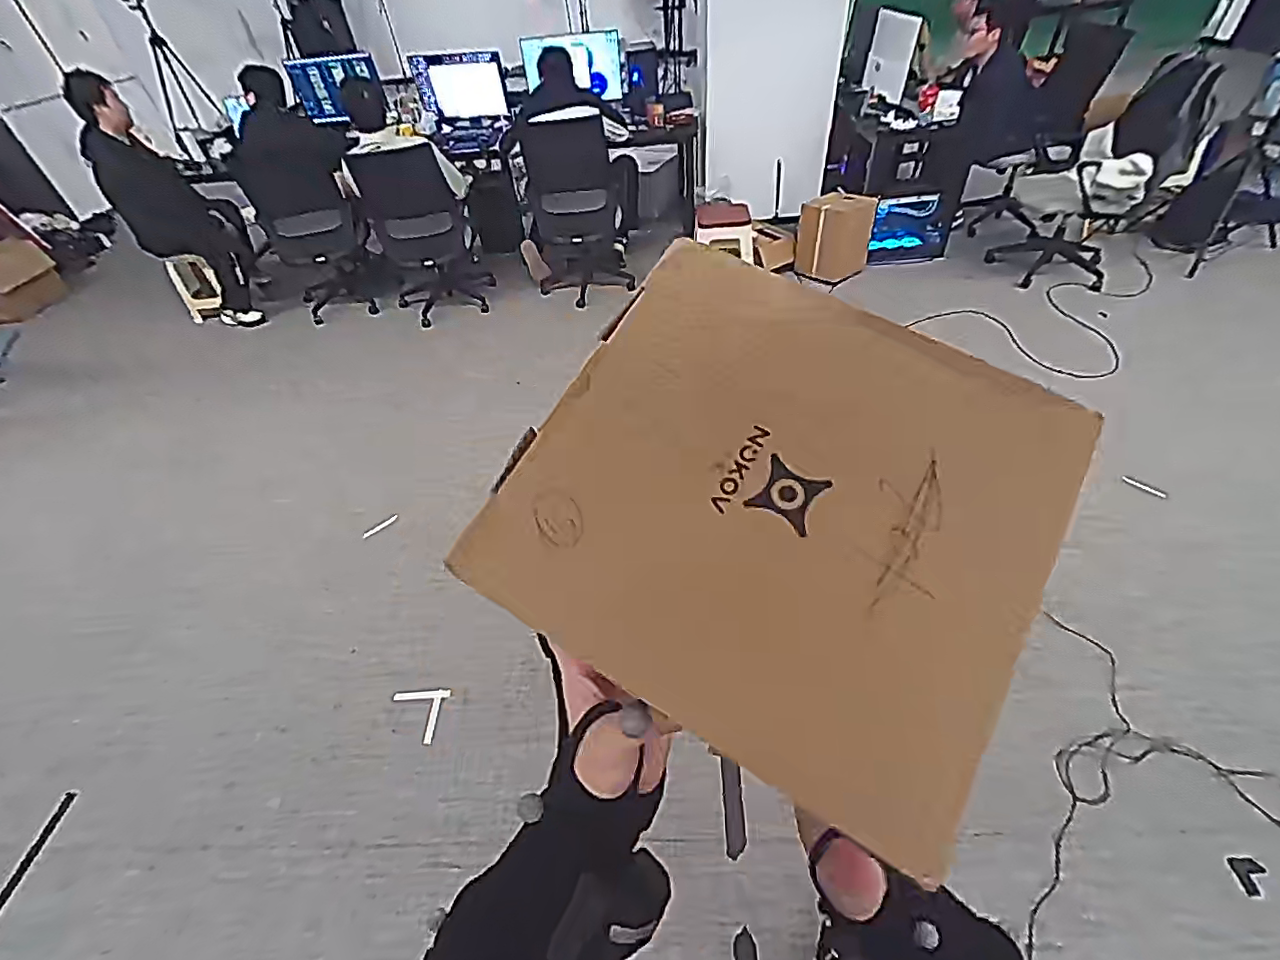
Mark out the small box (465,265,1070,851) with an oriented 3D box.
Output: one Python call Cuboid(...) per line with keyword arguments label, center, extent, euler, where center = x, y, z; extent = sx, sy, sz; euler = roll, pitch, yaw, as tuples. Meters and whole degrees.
Cuboid(label="small box", center=(0.052, 0.036, 0.276), extent=(0.179, 0.176, 0.168), euler=(28, 75, 12))
